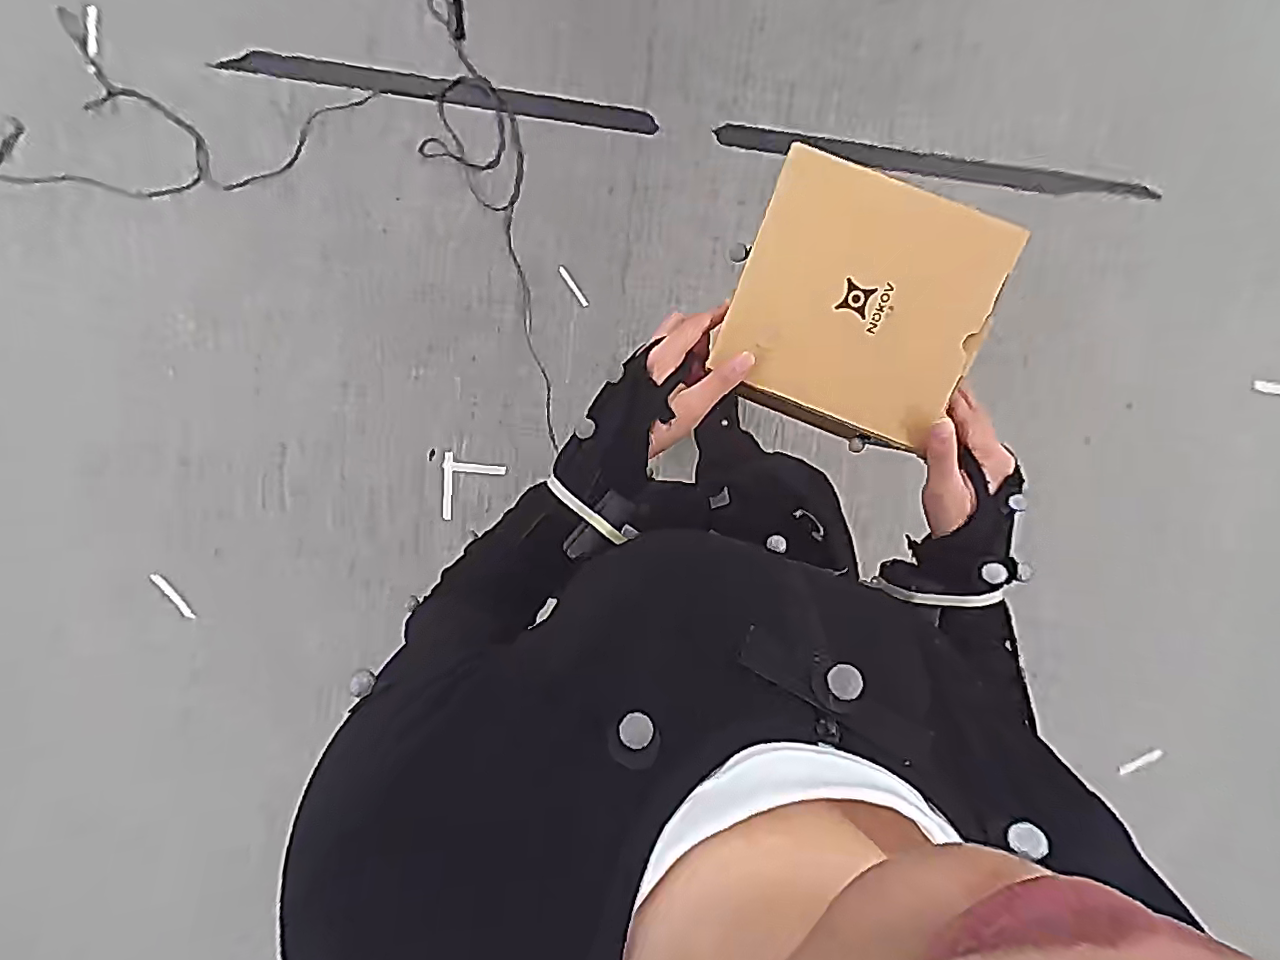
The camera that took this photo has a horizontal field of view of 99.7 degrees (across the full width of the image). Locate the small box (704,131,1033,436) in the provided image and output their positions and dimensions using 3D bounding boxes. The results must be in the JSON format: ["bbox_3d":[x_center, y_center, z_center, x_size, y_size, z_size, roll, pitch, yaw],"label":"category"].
[{"bbox_3d":[0.162,-0.143,0.455,0.179,0.176,0.168,21,98,1],"label":"small box"}]
